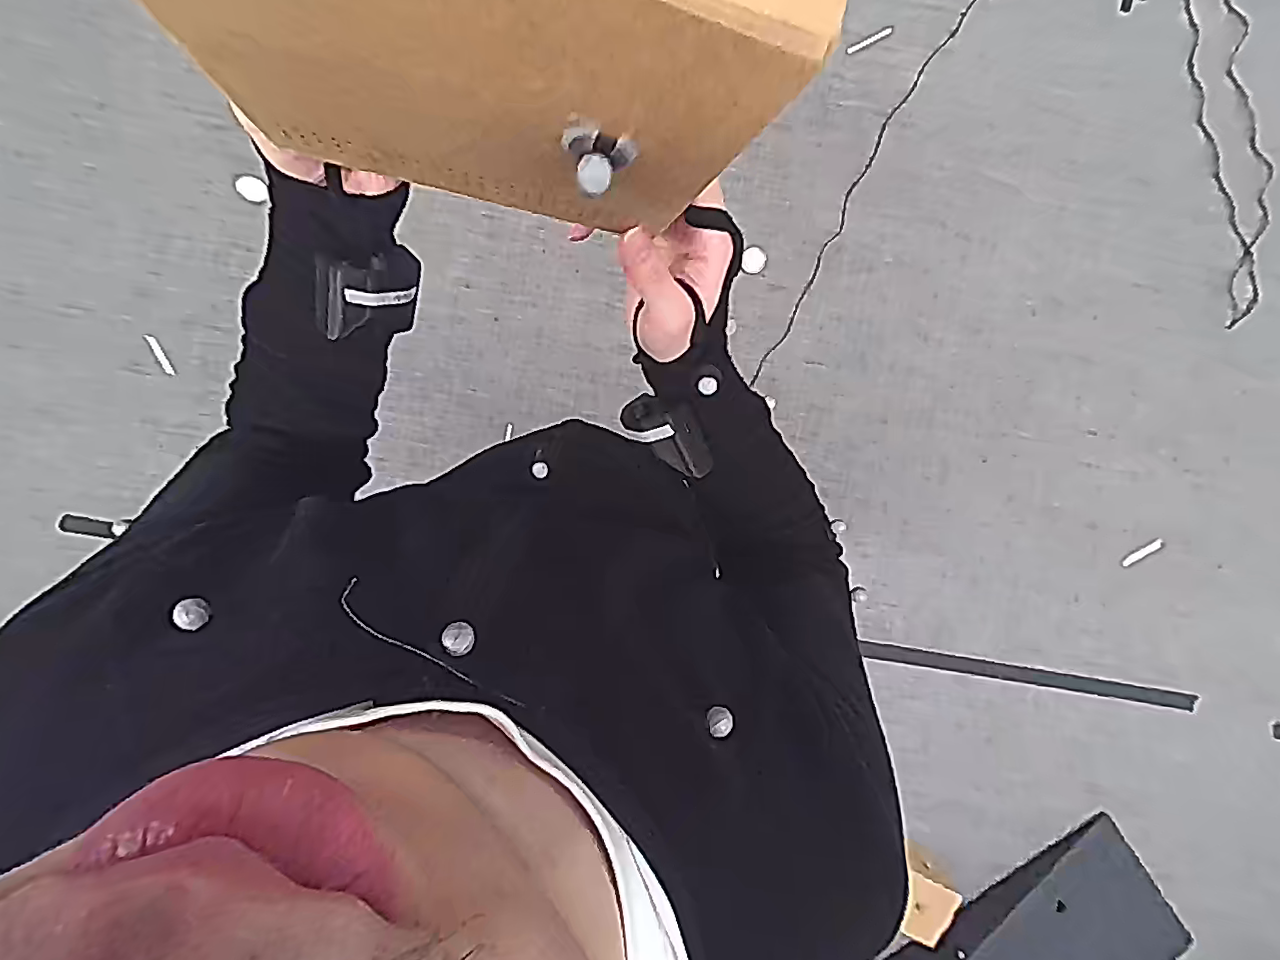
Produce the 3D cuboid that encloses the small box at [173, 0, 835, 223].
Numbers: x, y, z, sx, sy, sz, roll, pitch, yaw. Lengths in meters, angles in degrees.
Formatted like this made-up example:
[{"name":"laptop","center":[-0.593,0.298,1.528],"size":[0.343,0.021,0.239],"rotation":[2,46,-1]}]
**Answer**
[{"name":"small box","center":[-0.044,-0.207,0.182],"size":[0.179,0.176,0.168],"rotation":[6,95,-14]}]
